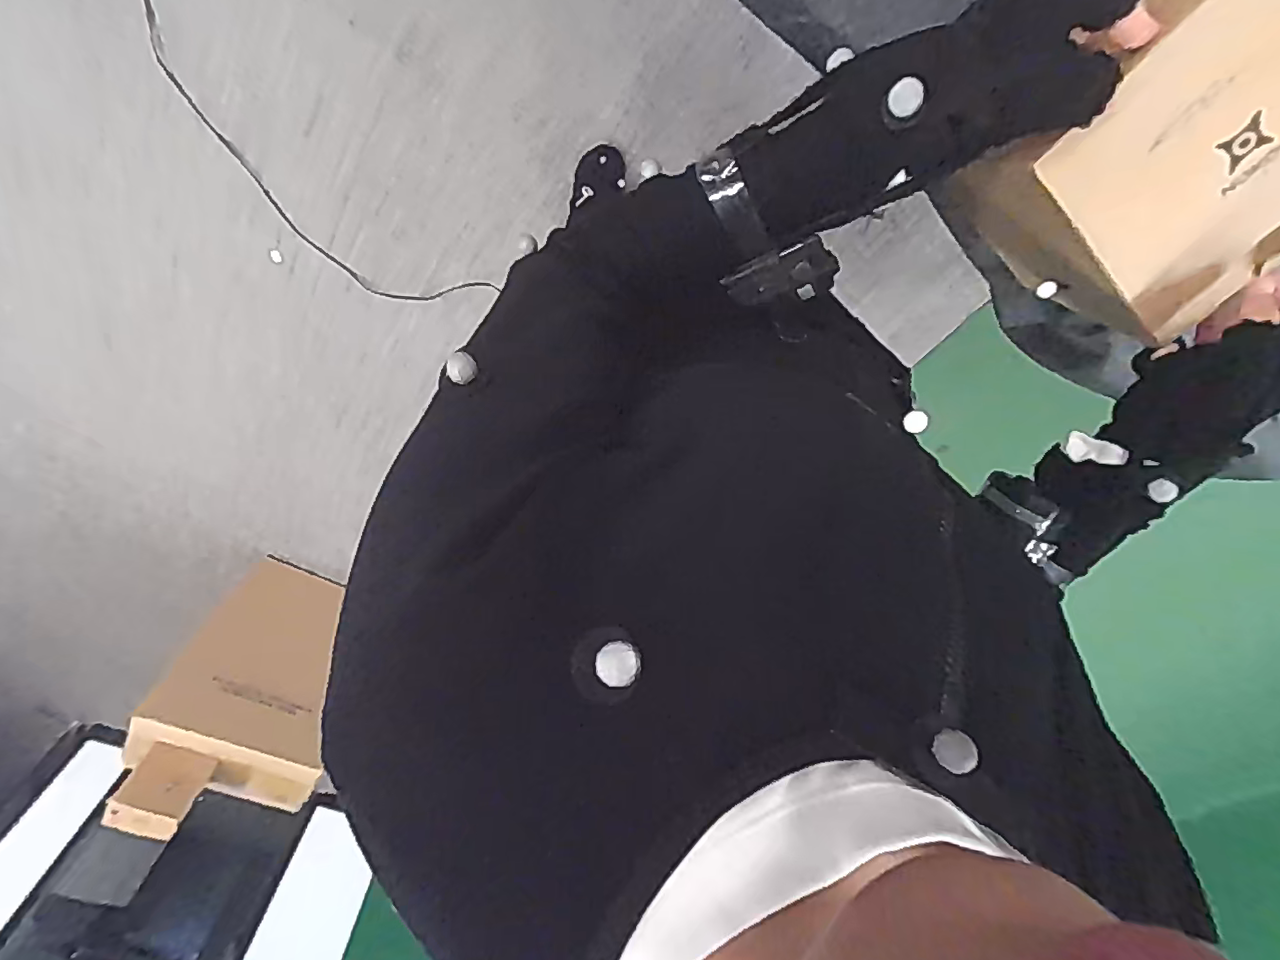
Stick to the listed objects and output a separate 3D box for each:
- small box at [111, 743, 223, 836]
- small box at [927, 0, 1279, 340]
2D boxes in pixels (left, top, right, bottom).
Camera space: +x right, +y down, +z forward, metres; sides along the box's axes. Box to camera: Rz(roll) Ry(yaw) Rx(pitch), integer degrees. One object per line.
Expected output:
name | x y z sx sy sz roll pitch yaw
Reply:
small box | -1.364 0.895 1.570 0.179 0.176 0.168 31 118 -19
small box | 0.347 -0.236 0.375 0.179 0.176 0.168 33 117 -19
